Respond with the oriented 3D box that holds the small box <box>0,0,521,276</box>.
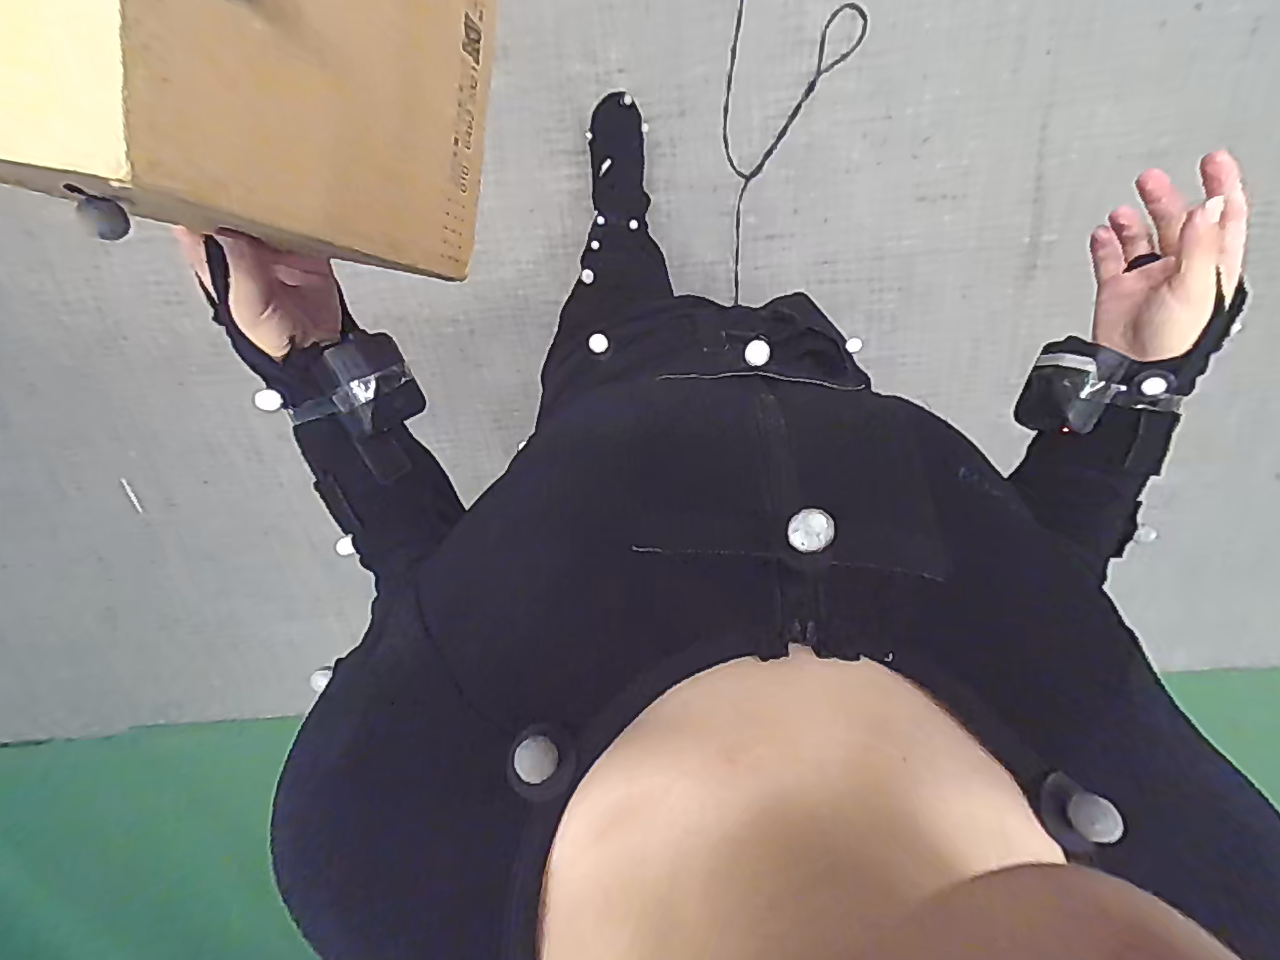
[{"bbox_3d":[-0.169,-0.186,0.211,0.179,0.176,0.168,13,105,9],"label":"small box"}]
